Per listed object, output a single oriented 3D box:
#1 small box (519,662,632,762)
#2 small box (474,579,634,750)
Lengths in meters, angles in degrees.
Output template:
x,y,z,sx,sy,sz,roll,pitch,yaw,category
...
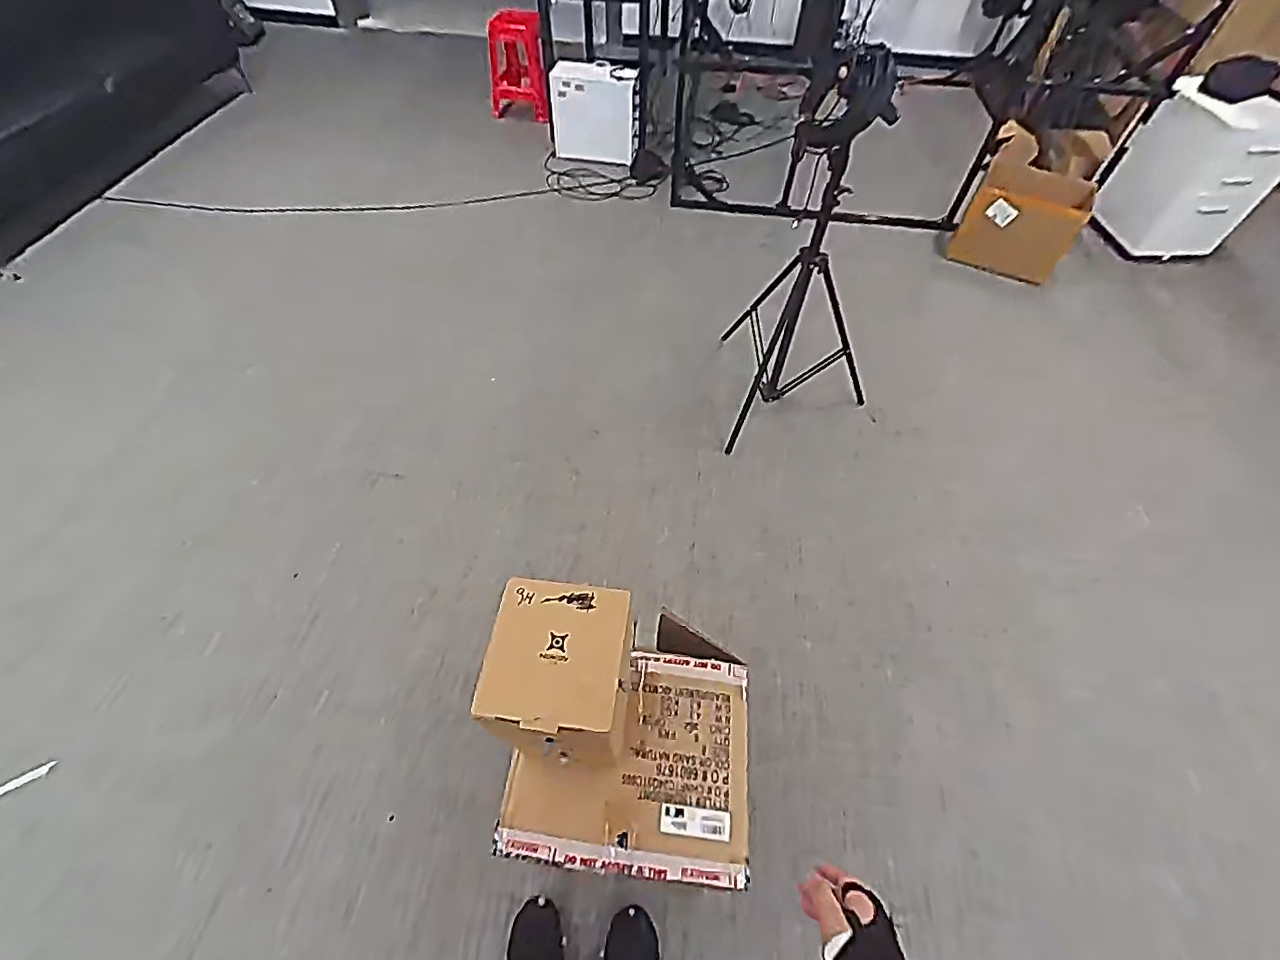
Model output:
x,y,z,sx,sy,sz,roll,pitch,yaw,category
-0.102,0.338,0.869,0.168,0.176,0.179,4,56,4,small box
-0.100,0.253,0.728,0.168,0.176,0.179,5,57,5,small box
